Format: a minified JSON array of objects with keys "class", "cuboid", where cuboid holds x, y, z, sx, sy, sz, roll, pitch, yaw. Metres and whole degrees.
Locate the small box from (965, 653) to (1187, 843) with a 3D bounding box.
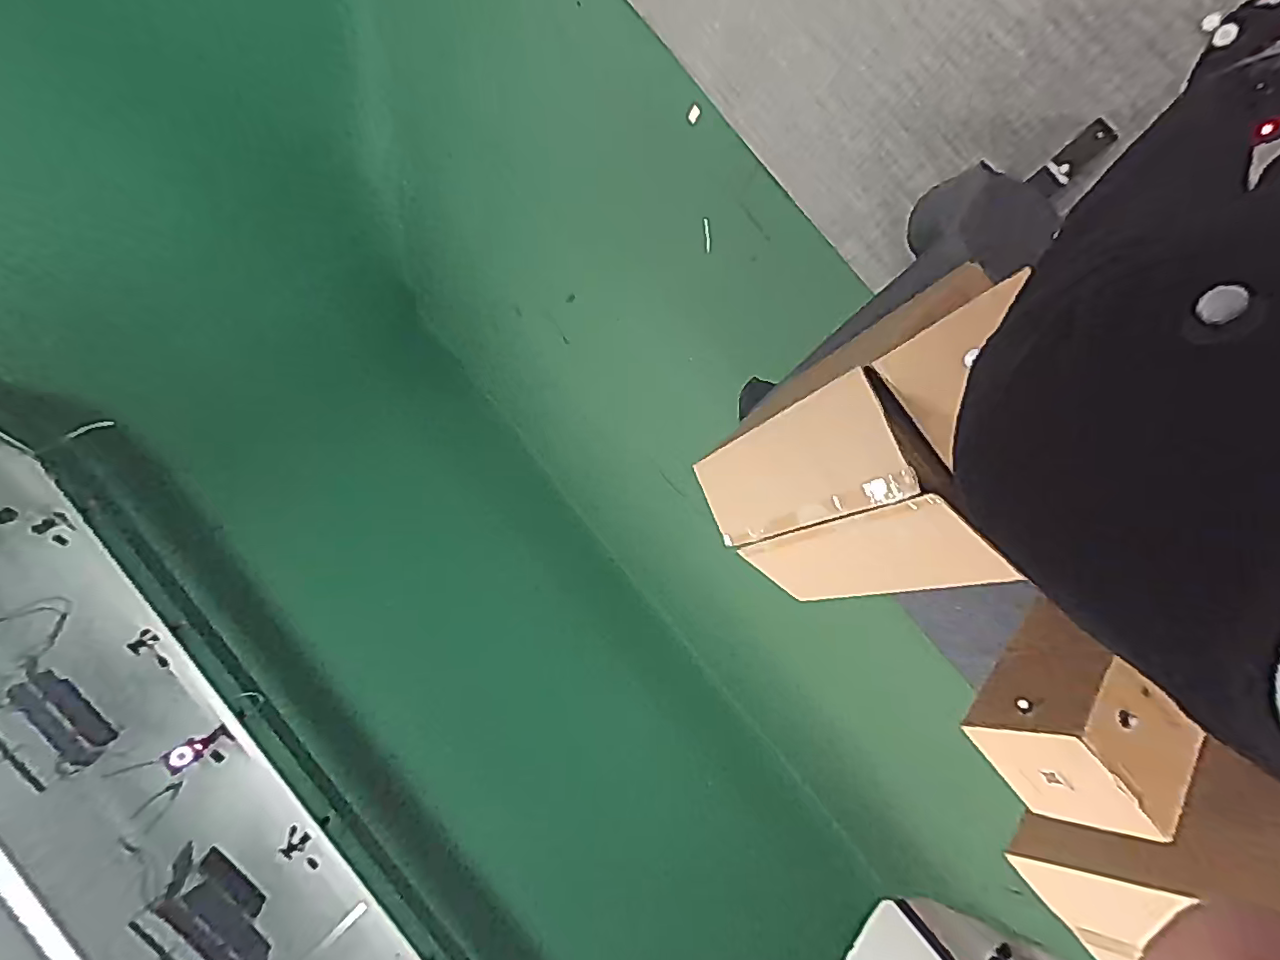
[{"class":"small box","cuboid":[0.628,0.367,0.779,0.168,0.176,0.179,49,155,3]}]
